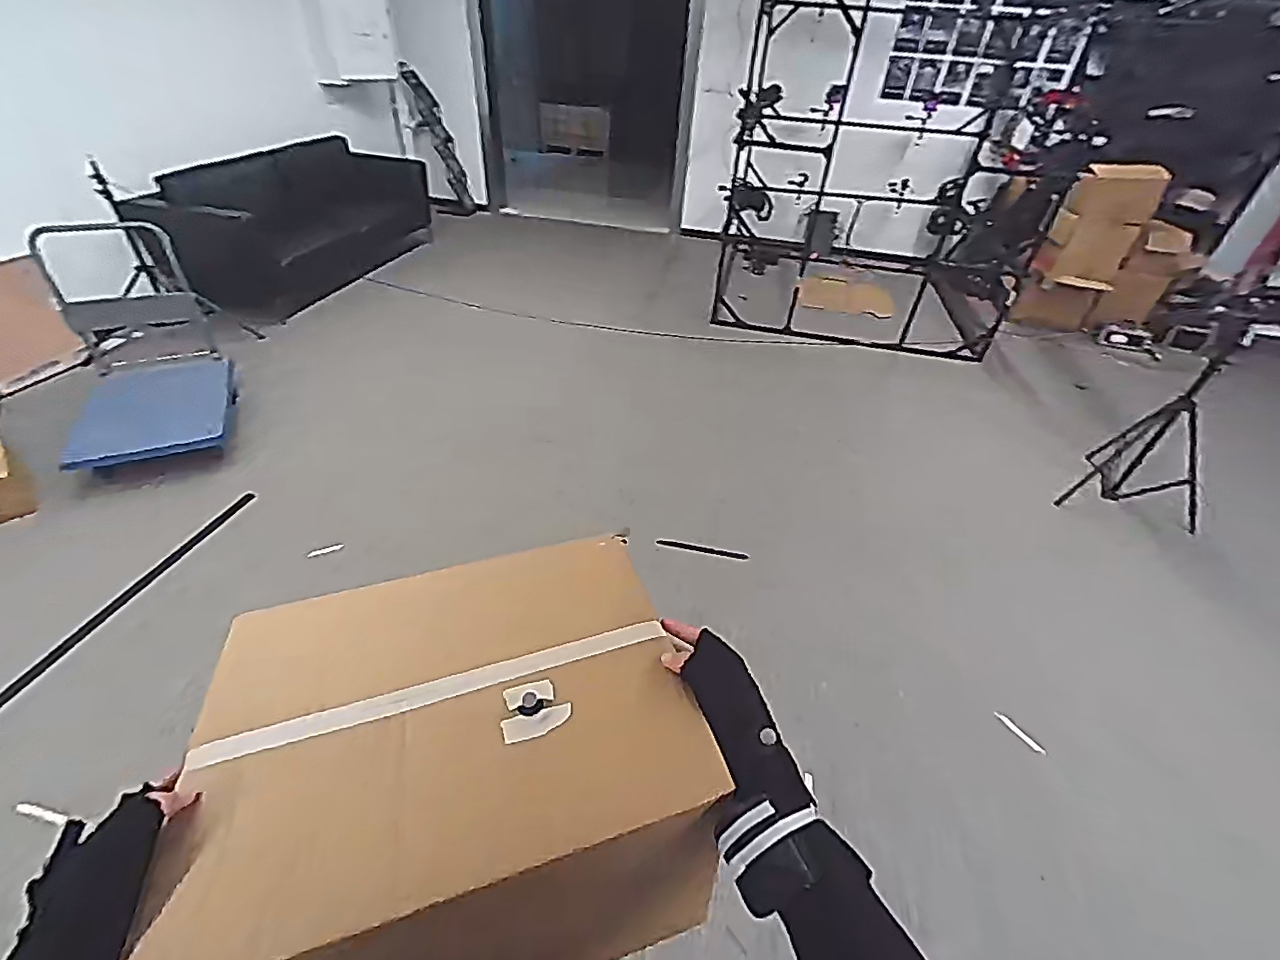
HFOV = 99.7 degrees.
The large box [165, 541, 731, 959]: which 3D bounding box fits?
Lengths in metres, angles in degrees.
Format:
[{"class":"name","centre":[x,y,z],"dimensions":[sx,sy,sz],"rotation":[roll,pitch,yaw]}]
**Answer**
[{"class":"large box","centre":[-0.159,0.315,0.585],"dimensions":[0.408,0.320,0.320],"rotation":[-10,38,-14]}]
